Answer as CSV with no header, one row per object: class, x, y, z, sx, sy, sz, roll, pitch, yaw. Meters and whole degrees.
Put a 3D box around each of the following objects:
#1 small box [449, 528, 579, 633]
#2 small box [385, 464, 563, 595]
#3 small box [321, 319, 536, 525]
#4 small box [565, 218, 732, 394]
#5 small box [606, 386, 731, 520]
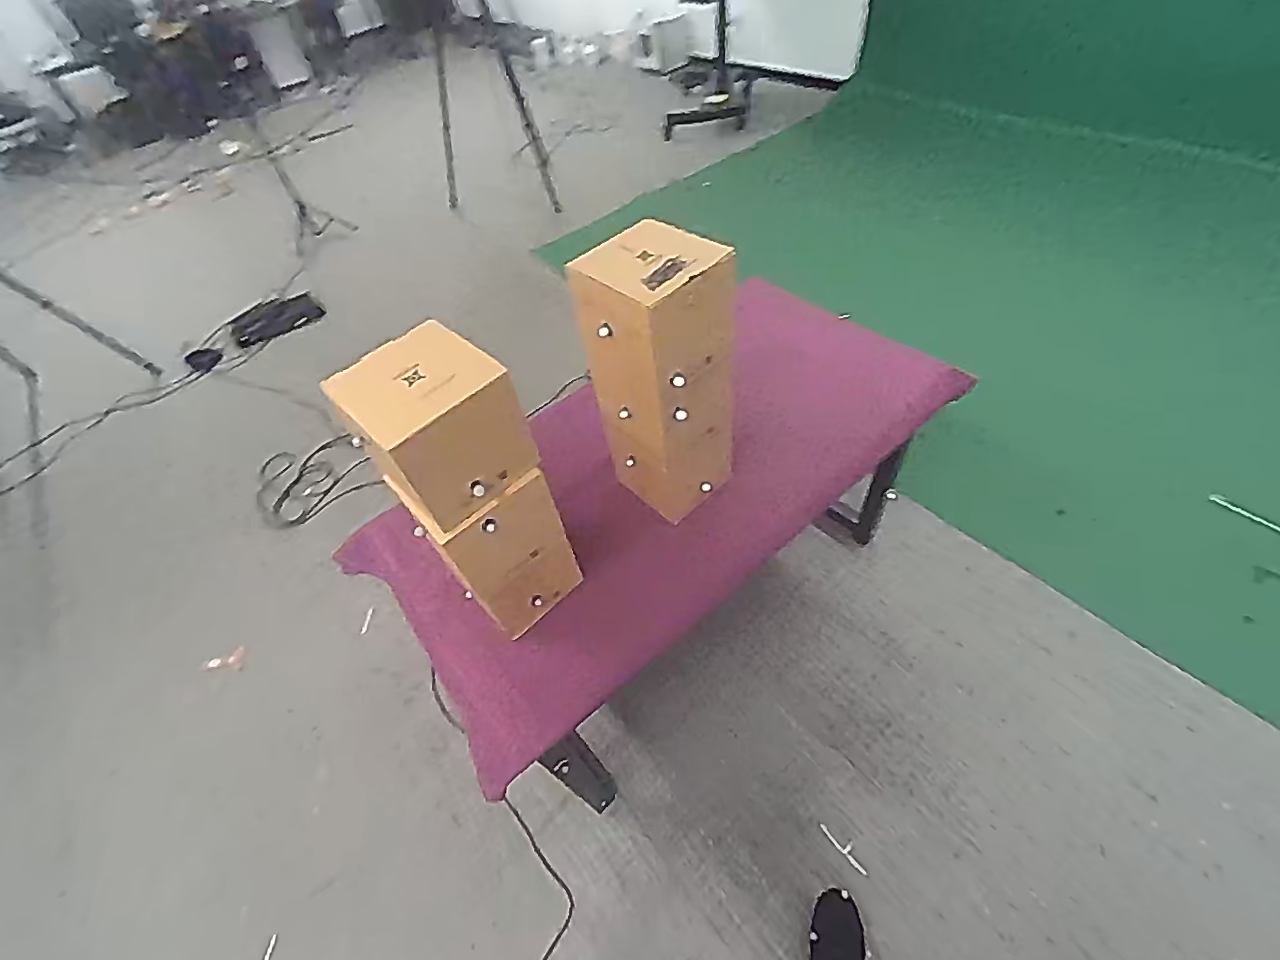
small box,-0.232,0.135,0.953,0.168,0.176,0.179,-40,57,-23
small box,-0.243,0.040,0.820,0.168,0.176,0.179,-38,55,-21
small box,-0.263,-0.073,0.702,0.168,0.176,0.179,-40,57,-22
small box,0.020,-0.252,0.801,0.168,0.176,0.179,-39,54,-21
small box,0.060,-0.054,1.060,0.168,0.176,0.179,-38,55,-20
